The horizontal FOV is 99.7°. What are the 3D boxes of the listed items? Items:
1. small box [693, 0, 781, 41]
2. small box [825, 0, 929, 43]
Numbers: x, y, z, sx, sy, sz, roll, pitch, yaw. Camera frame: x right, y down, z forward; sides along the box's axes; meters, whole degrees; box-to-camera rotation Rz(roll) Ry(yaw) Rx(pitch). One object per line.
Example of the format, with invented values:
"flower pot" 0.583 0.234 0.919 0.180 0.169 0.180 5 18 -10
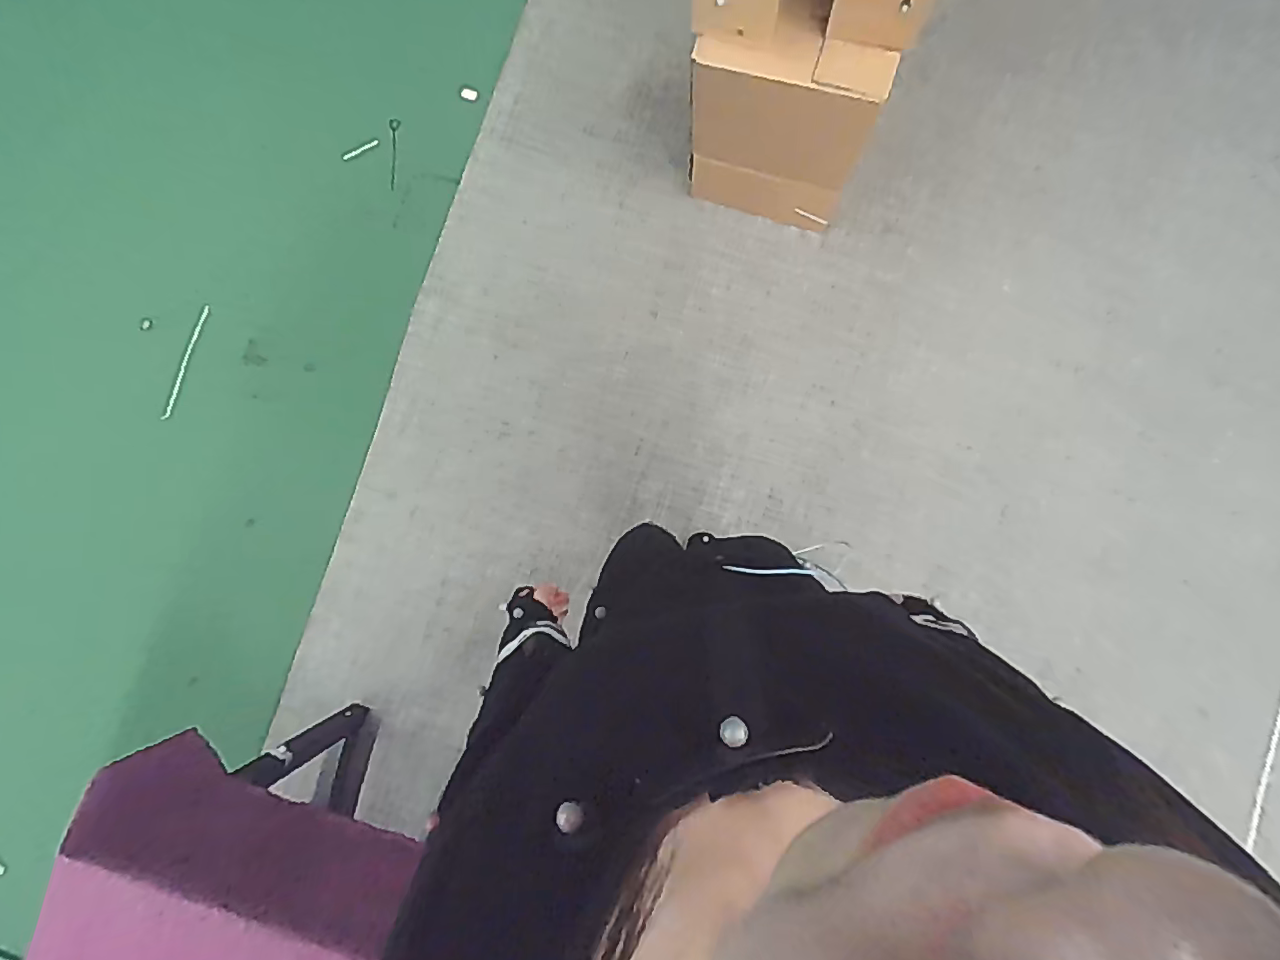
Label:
"small box" 0.202 -0.994 1.027 0.168 0.176 0.179 19 87 4
"small box" 0.470 -0.968 1.007 0.179 0.176 0.168 17 87 7
